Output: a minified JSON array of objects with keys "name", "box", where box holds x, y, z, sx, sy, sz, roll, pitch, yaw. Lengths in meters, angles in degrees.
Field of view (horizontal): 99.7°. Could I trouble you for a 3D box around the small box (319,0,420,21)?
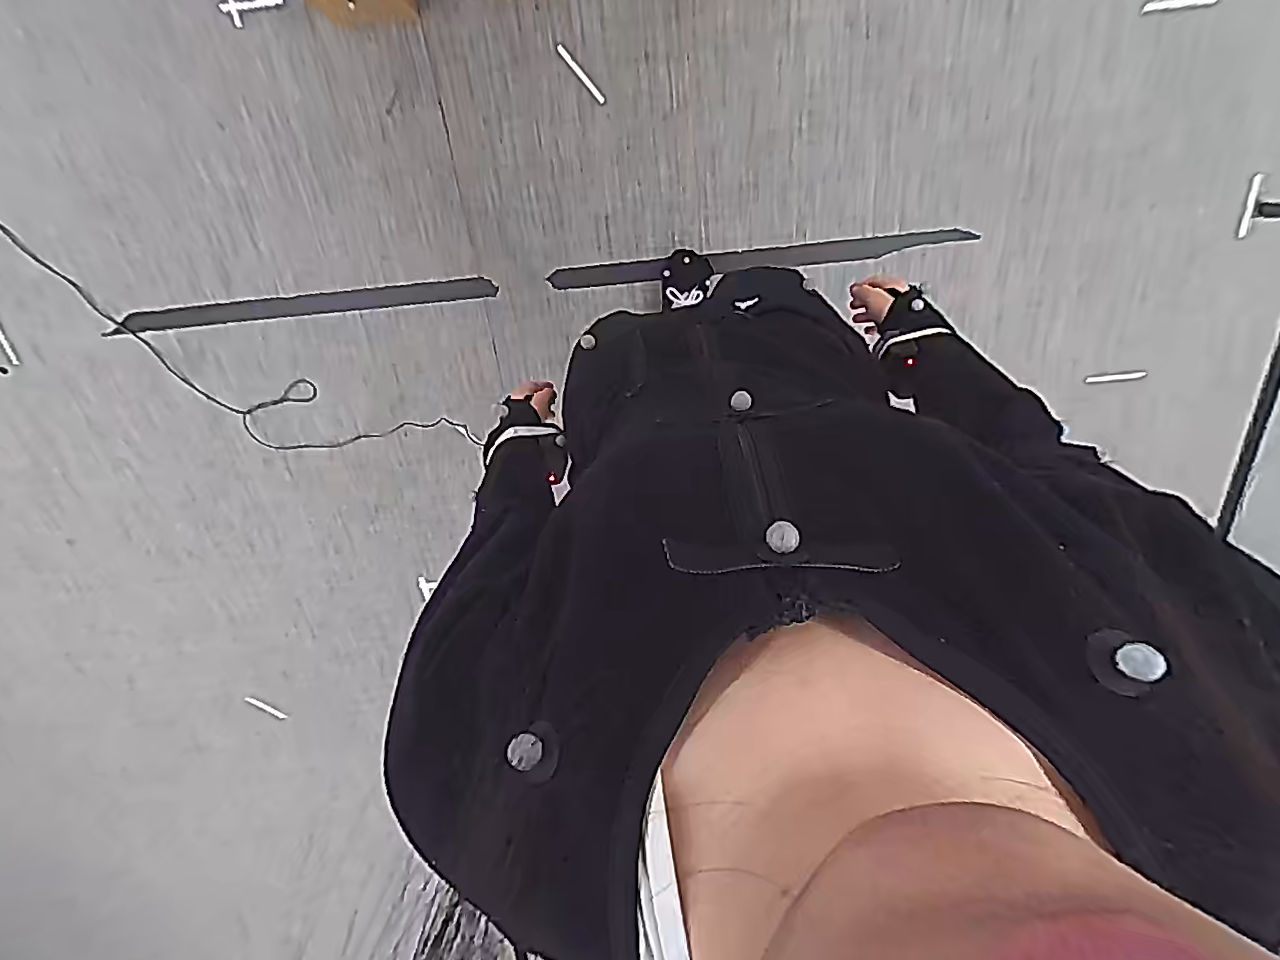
[{"name":"small box","box":[-0.554,-1.018,1.040,0.179,0.176,0.168,-4,114,1]}]
